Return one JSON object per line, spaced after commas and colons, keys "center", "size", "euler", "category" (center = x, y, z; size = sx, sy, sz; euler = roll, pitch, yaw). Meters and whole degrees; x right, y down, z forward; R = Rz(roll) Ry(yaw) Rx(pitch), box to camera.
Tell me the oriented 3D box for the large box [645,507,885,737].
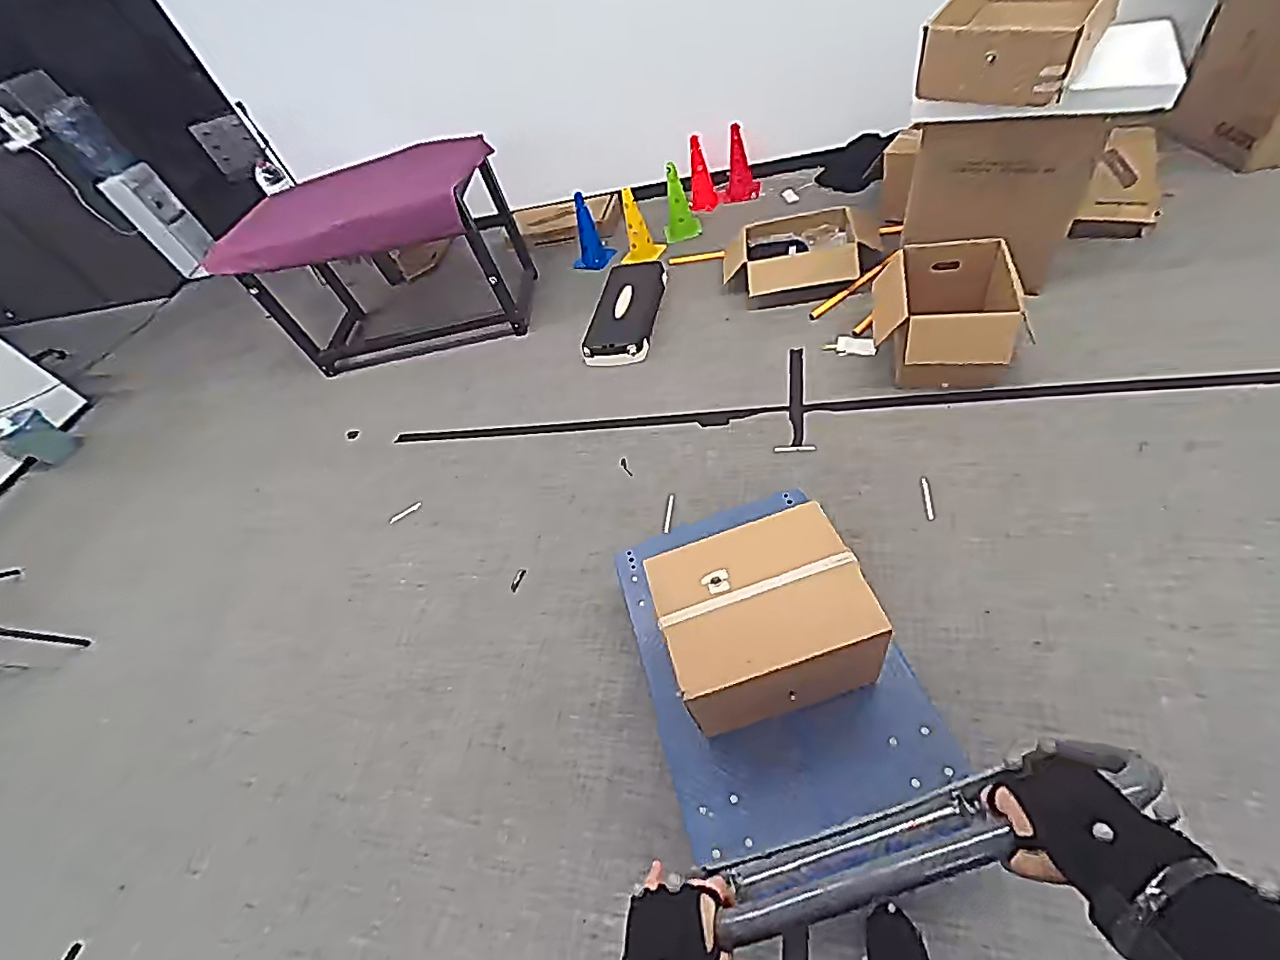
{"center": [0.270, 0.326, 1.211], "size": [0.408, 0.320, 0.320], "euler": [-21, 49, 2], "category": "large box"}
